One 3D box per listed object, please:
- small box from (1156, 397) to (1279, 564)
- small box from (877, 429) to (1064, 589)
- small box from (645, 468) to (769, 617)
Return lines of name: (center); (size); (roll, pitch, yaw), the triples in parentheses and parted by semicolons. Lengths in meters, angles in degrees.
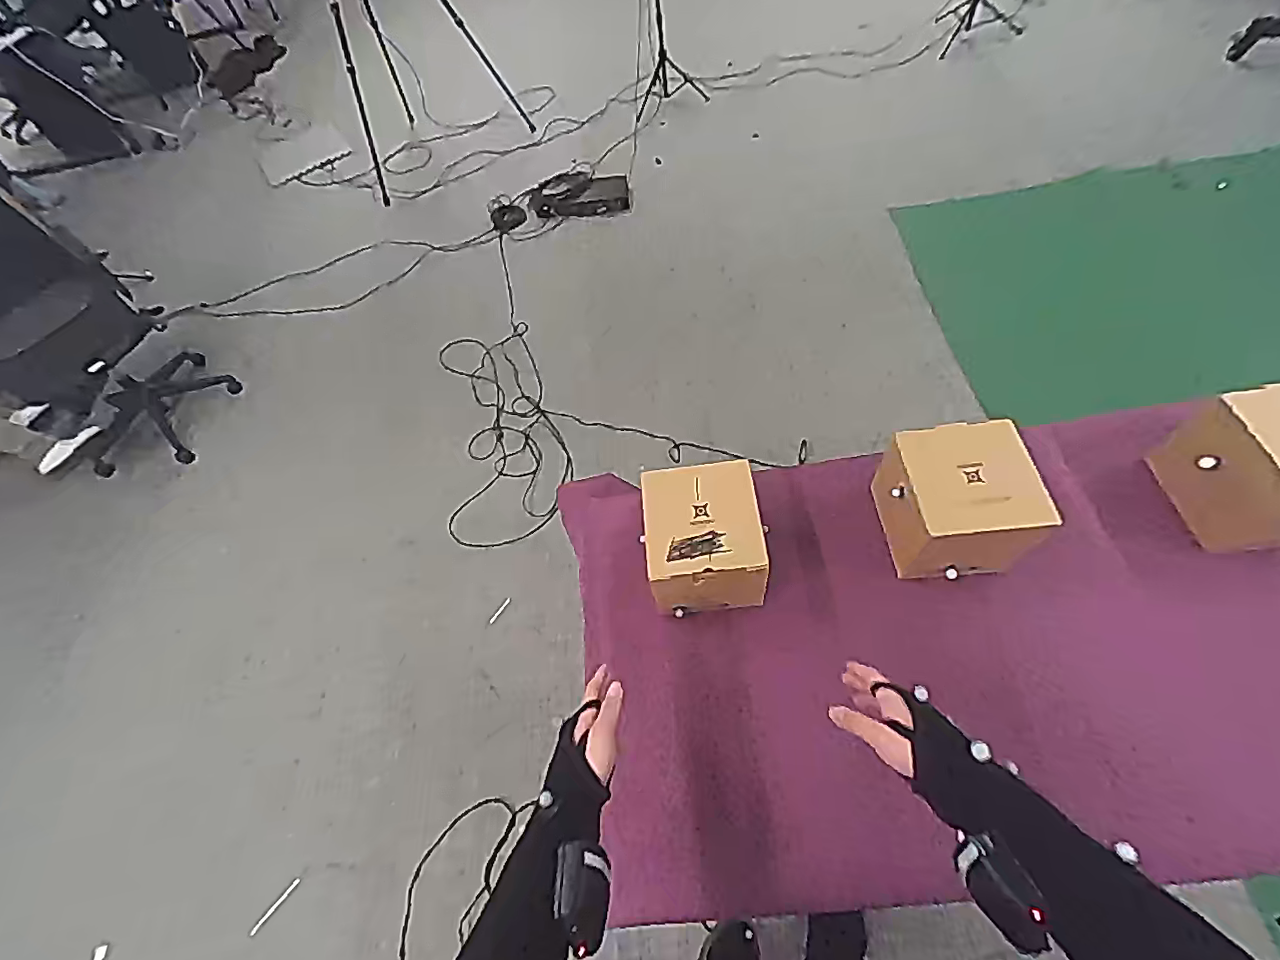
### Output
small box: (0.906, 0.000, 0.766); (0.168, 0.176, 0.179); (-8, 56, 6)
small box: (0.474, 0.048, 0.814); (0.168, 0.176, 0.179); (-6, 58, 7)
small box: (0.103, 0.106, 0.837); (0.168, 0.176, 0.179); (-7, 57, 5)
